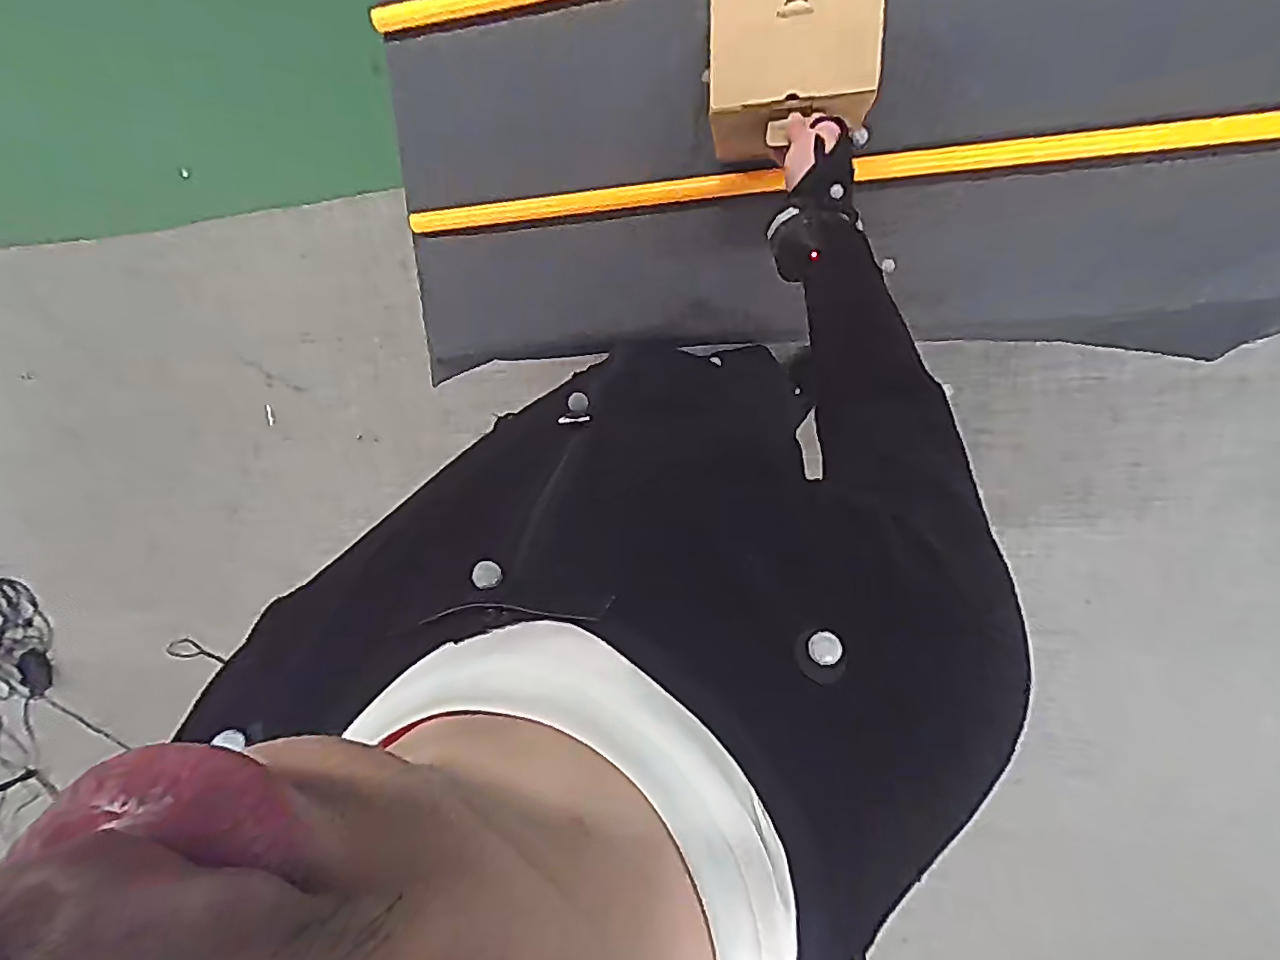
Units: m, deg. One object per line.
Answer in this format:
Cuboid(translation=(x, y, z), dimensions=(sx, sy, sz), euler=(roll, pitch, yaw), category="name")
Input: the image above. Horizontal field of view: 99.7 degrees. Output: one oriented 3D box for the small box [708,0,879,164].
Cuboid(translation=(0.169, -0.479, 0.611), dimensions=(0.168, 0.176, 0.179), euler=(-1, 103, 13), category="small box")
